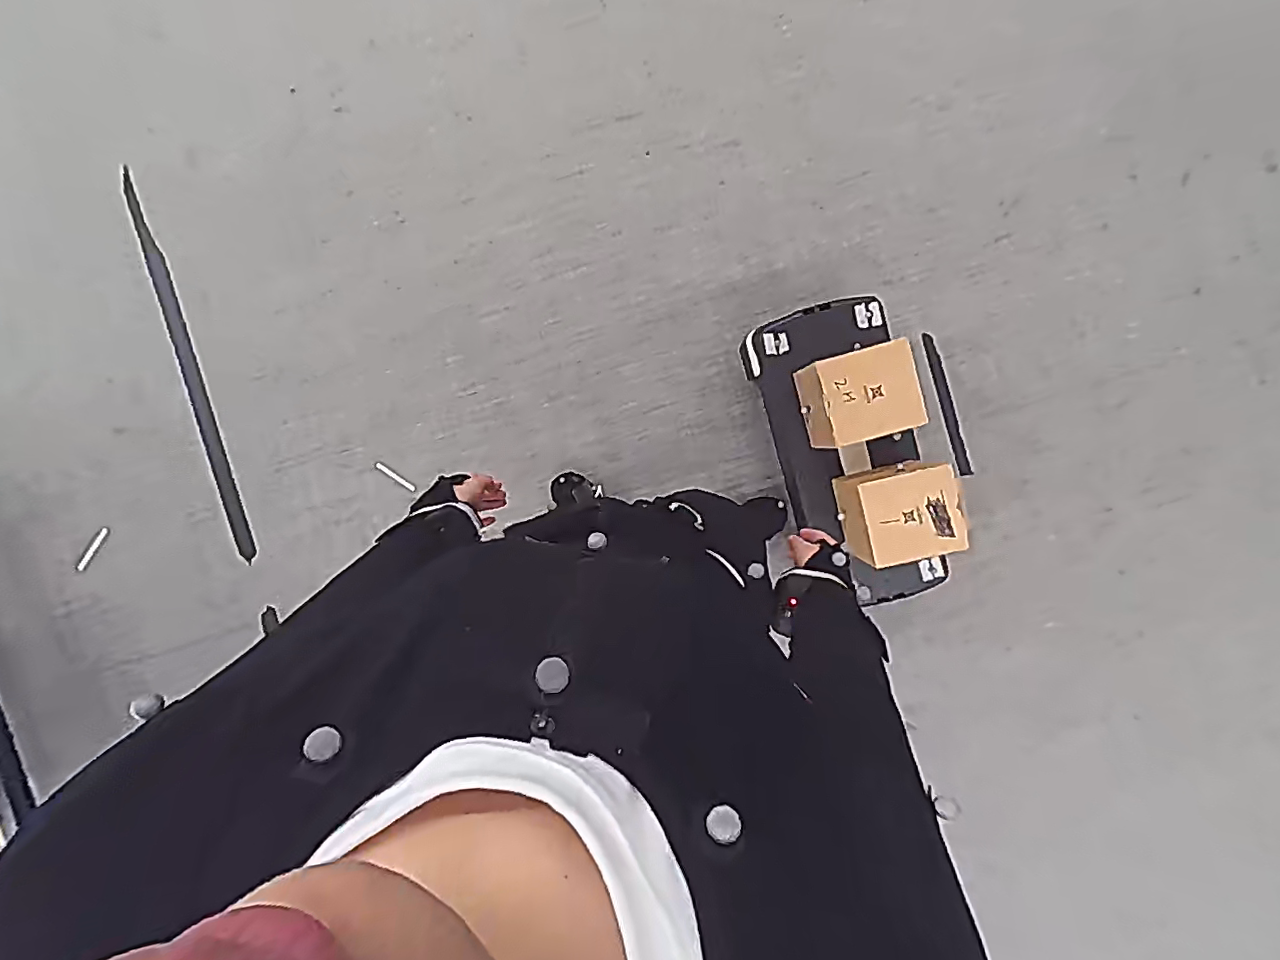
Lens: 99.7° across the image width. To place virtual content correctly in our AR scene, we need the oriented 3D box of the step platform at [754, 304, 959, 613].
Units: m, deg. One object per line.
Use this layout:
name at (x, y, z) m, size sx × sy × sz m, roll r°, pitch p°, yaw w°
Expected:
step platform at (0.489, -0.045, 1.251) m, size 0.286 × 0.204 × 0.684 m, roll -16°, pitch 92°, yaw 3°

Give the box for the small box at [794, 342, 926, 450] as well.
small box at (0.427, -0.160, 1.072) m, size 0.179 × 0.176 × 0.168 m, roll -15°, pitch 92°, yaw 3°

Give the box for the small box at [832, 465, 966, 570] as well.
small box at (0.508, 0.067, 1.083) m, size 0.179 × 0.176 × 0.168 m, roll -13°, pitch 92°, yaw 4°
